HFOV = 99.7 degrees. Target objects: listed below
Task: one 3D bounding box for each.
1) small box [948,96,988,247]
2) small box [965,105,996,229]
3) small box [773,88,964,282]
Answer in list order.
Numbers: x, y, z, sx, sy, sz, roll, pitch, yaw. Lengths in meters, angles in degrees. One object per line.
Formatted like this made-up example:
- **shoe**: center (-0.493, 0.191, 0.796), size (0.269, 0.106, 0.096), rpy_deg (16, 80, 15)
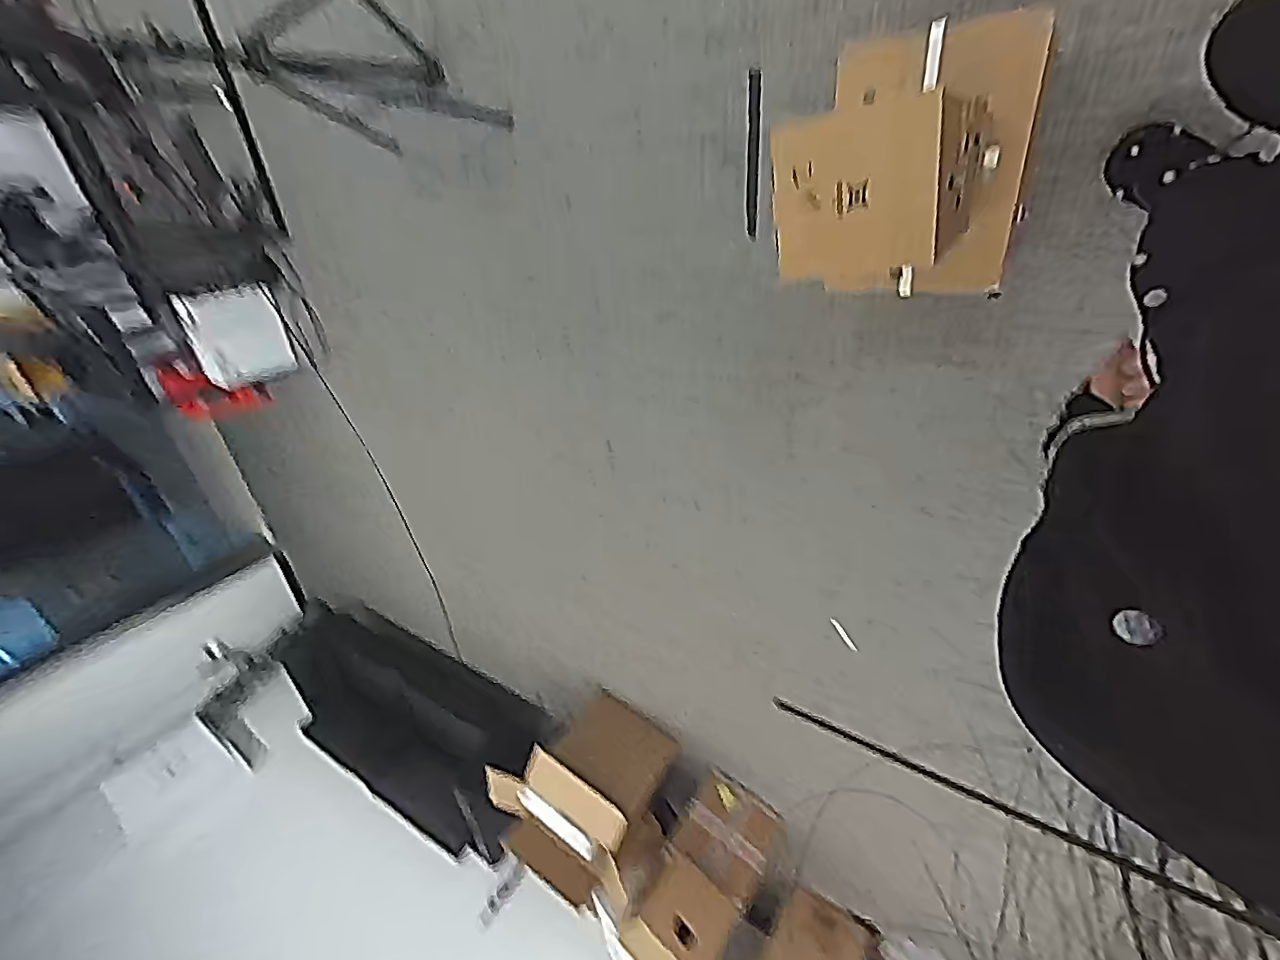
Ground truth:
- **small box**: center (0.370, -0.423, 0.758), size (0.179, 0.176, 0.168), rpy_deg (12, 123, 33)
- **small box**: center (0.455, -0.495, 0.877), size (0.179, 0.176, 0.168), rpy_deg (12, 125, 31)
- **small box**: center (0.277, -0.345, 0.646), size (0.179, 0.176, 0.168), rpy_deg (7, 120, 35)
